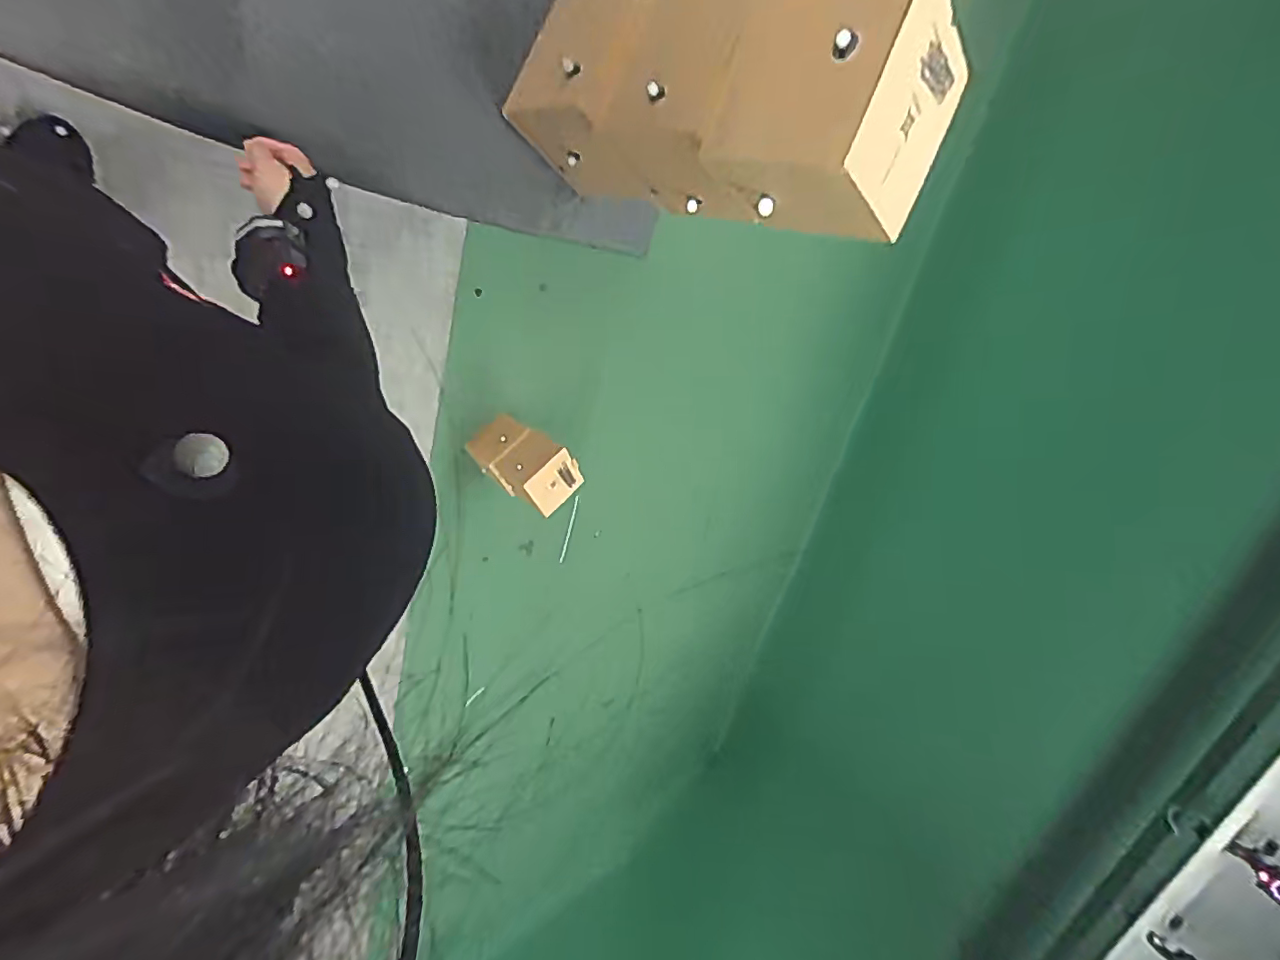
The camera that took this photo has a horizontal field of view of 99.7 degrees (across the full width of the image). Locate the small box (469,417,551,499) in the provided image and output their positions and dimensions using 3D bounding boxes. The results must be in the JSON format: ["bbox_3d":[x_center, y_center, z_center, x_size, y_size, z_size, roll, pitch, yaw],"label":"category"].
[{"bbox_3d":[-0.434,-0.076,1.778,0.179,0.176,0.168,-46,140,-18],"label":"small box"}]

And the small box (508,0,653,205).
[{"bbox_3d":[-0.049,-0.501,0.723,0.168,0.176,0.179,24,92,-53],"label":"small box"}]

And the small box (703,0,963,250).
[{"bbox_3d":[0.190,-0.361,0.547,0.168,0.176,0.179,7,108,-50],"label":"small box"}]
